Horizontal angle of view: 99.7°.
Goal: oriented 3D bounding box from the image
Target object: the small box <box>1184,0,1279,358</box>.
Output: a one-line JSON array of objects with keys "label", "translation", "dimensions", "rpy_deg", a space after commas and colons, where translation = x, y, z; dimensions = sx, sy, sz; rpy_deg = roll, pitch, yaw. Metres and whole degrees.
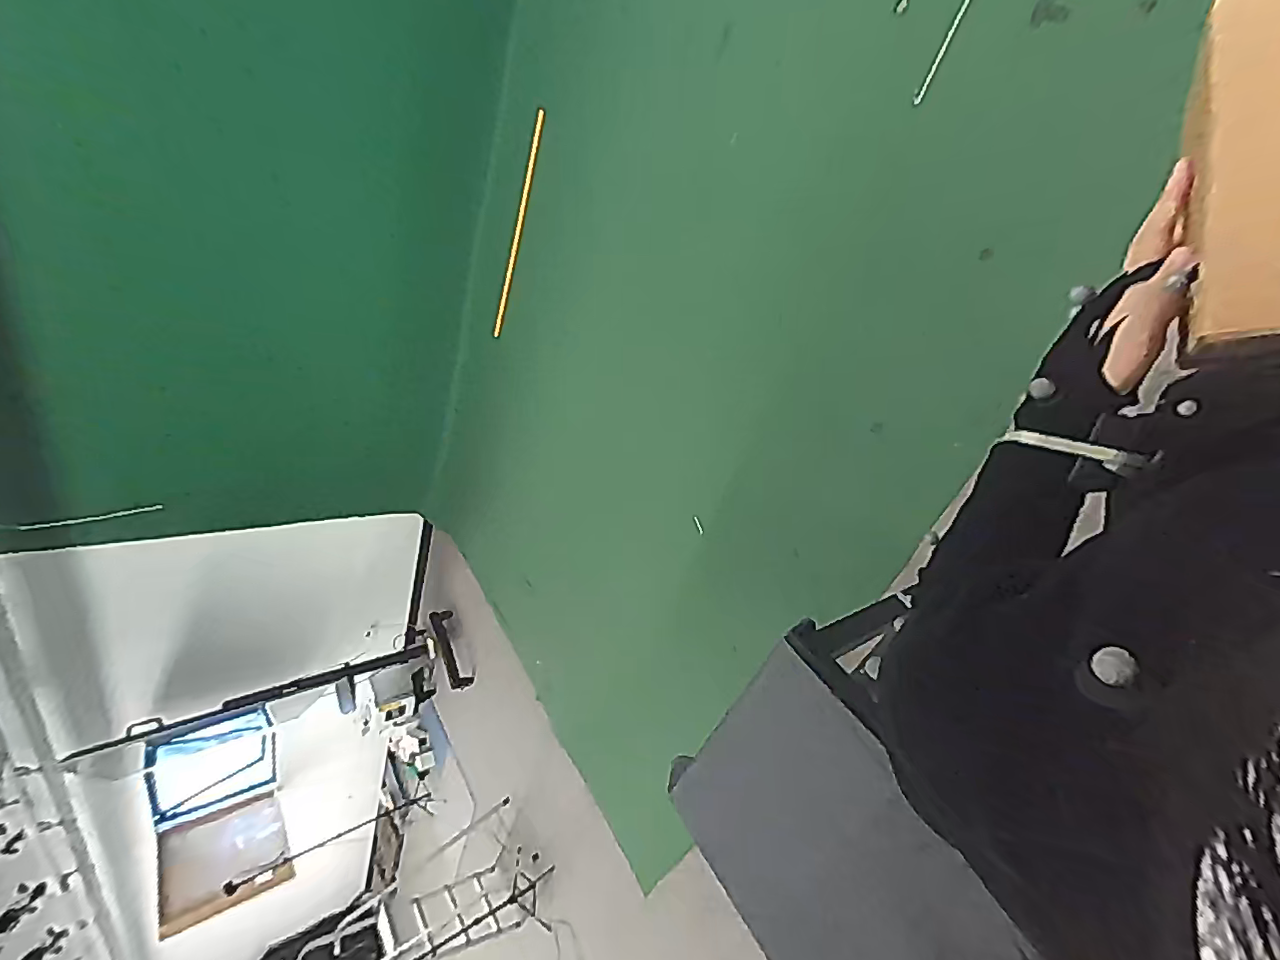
[{"label": "small box", "translation": [0.418, -0.173, 0.293], "dimensions": [0.168, 0.176, 0.179], "rpy_deg": [-1, 93, 43]}]
